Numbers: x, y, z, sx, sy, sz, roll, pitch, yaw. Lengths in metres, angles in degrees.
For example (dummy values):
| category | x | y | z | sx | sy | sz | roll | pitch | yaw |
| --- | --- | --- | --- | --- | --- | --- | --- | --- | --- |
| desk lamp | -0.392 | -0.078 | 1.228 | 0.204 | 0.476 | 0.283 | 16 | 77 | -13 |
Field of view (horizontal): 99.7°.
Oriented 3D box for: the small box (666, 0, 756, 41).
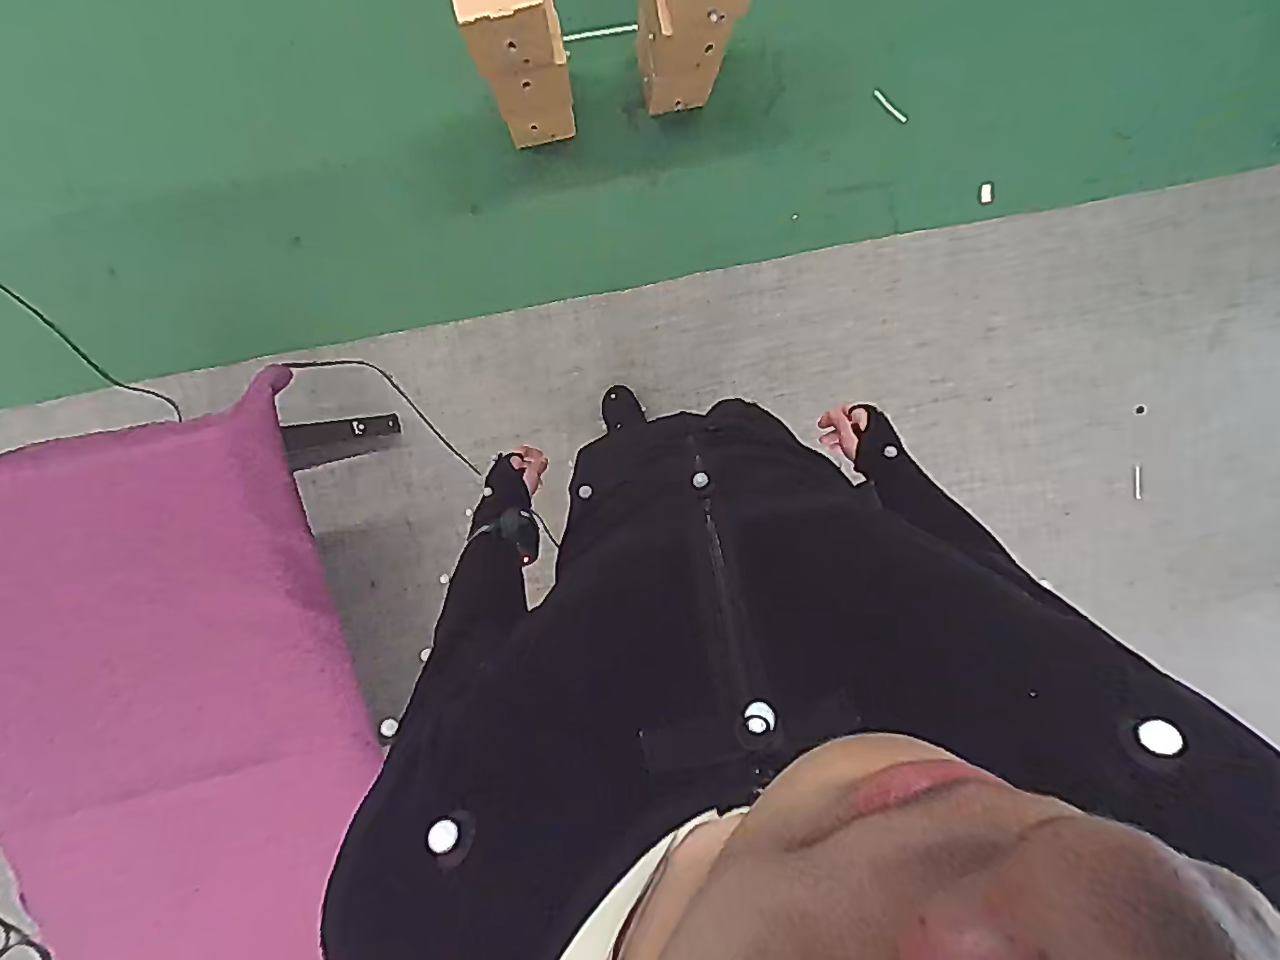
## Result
| category | x | y | z | sx | sy | sz | roll | pitch | yaw |
| --- | --- | --- | --- | --- | --- | --- | --- | --- | --- |
| small box | 0.136 | -1.027 | 1.065 | 0.168 | 0.176 | 0.179 | -18 | 101 | -1 |

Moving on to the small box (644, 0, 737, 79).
| category | x | y | z | sx | sy | sz | roll | pitch | yaw |
| --- | --- | --- | --- | --- | --- | --- | --- | --- | --- |
| small box | 0.110 | -1.049 | 1.225 | 0.168 | 0.176 | 0.179 | -13 | 99 | -3 |

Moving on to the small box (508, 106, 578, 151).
| category | x | y | z | sx | sy | sz | roll | pitch | yaw |
| --- | --- | --- | --- | --- | --- | --- | --- | --- | --- |
| small box | -0.260 | -0.973 | 1.382 | 0.168 | 0.176 | 0.179 | -13 | 98 | -1 |

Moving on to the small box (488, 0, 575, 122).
| category | x | y | z | sx | sy | sz | roll | pitch | yaw |
| --- | --- | --- | --- | --- | --- | --- | --- | --- | --- |
| small box | -0.253 | -0.945 | 1.221 | 0.179 | 0.176 | 0.168 | -13 | 99 | -1 |

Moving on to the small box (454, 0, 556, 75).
| category | x | y | z | sx | sy | sz | roll | pitch | yaw |
| --- | --- | --- | --- | --- | --- | --- | --- | --- | --- |
| small box | -0.267 | -0.932 | 1.056 | 0.168 | 0.176 | 0.179 | -12 | 99 | 0 |
